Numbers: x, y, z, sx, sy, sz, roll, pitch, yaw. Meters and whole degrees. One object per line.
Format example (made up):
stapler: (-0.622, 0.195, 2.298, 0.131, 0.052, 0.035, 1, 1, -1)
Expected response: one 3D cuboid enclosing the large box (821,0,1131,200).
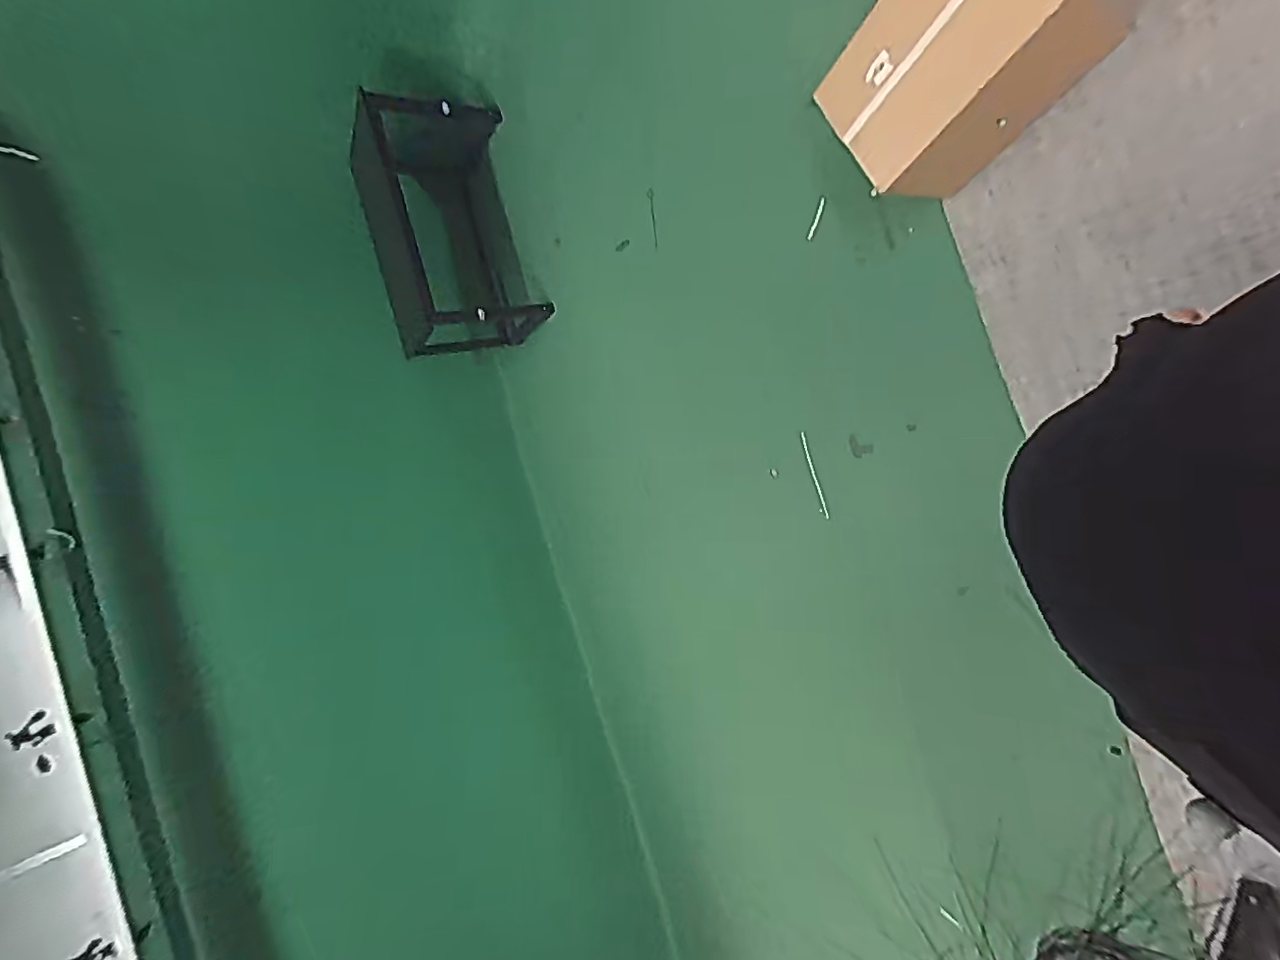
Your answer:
large box: (0.688, -0.877, 1.155, 0.408, 0.320, 0.320, -45, 65, 55)
